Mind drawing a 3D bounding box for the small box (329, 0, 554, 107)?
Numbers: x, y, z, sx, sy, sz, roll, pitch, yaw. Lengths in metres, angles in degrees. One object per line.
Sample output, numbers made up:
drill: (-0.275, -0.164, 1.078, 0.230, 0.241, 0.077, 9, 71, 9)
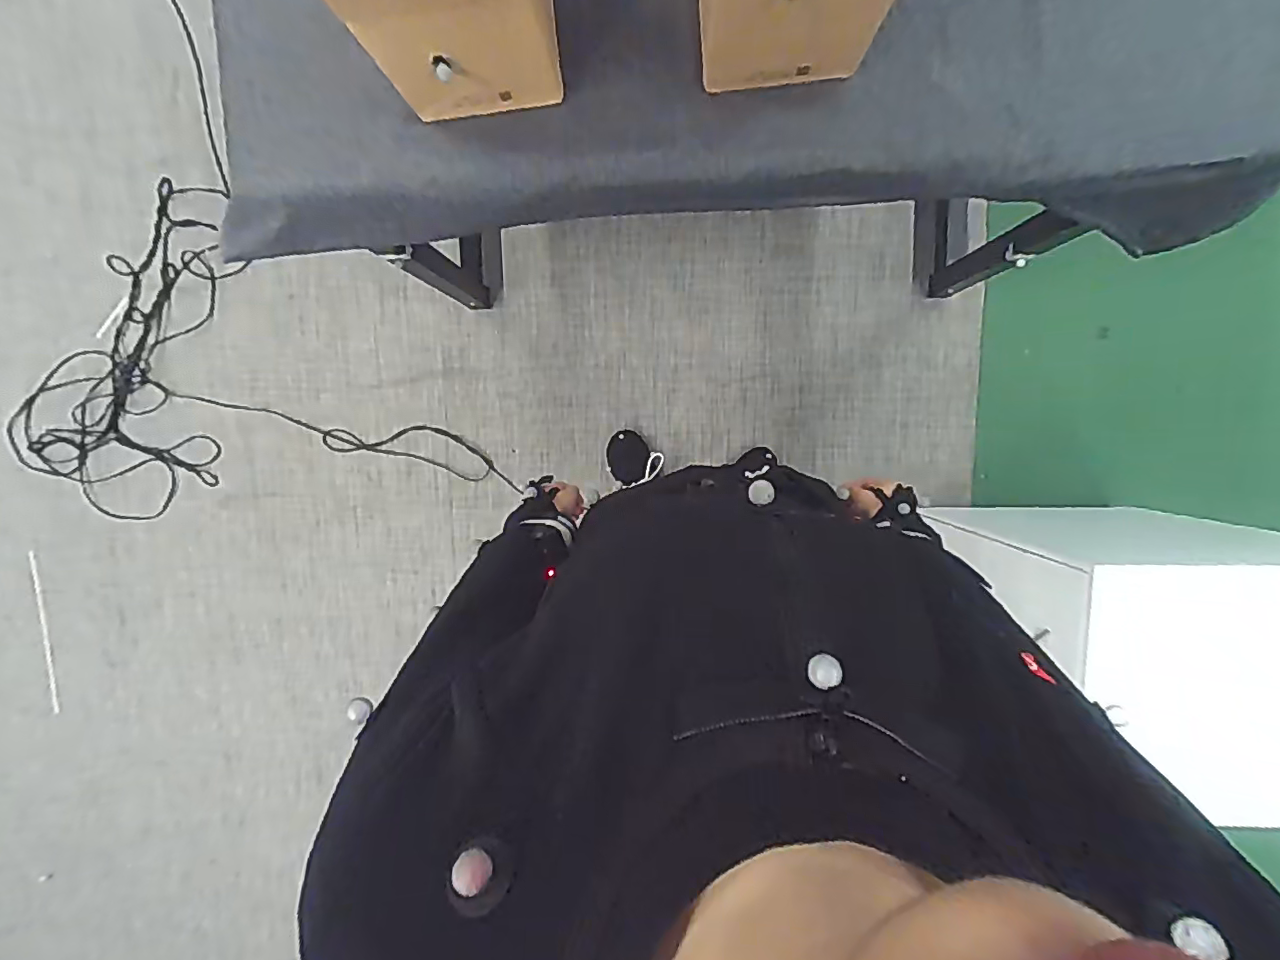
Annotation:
small box: (-0.186, -0.496, 0.523, 0.168, 0.176, 0.179, -6, 95, 3)

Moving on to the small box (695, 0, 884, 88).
small box: (0.138, -0.518, 0.509, 0.168, 0.176, 0.179, -4, 95, 3)
